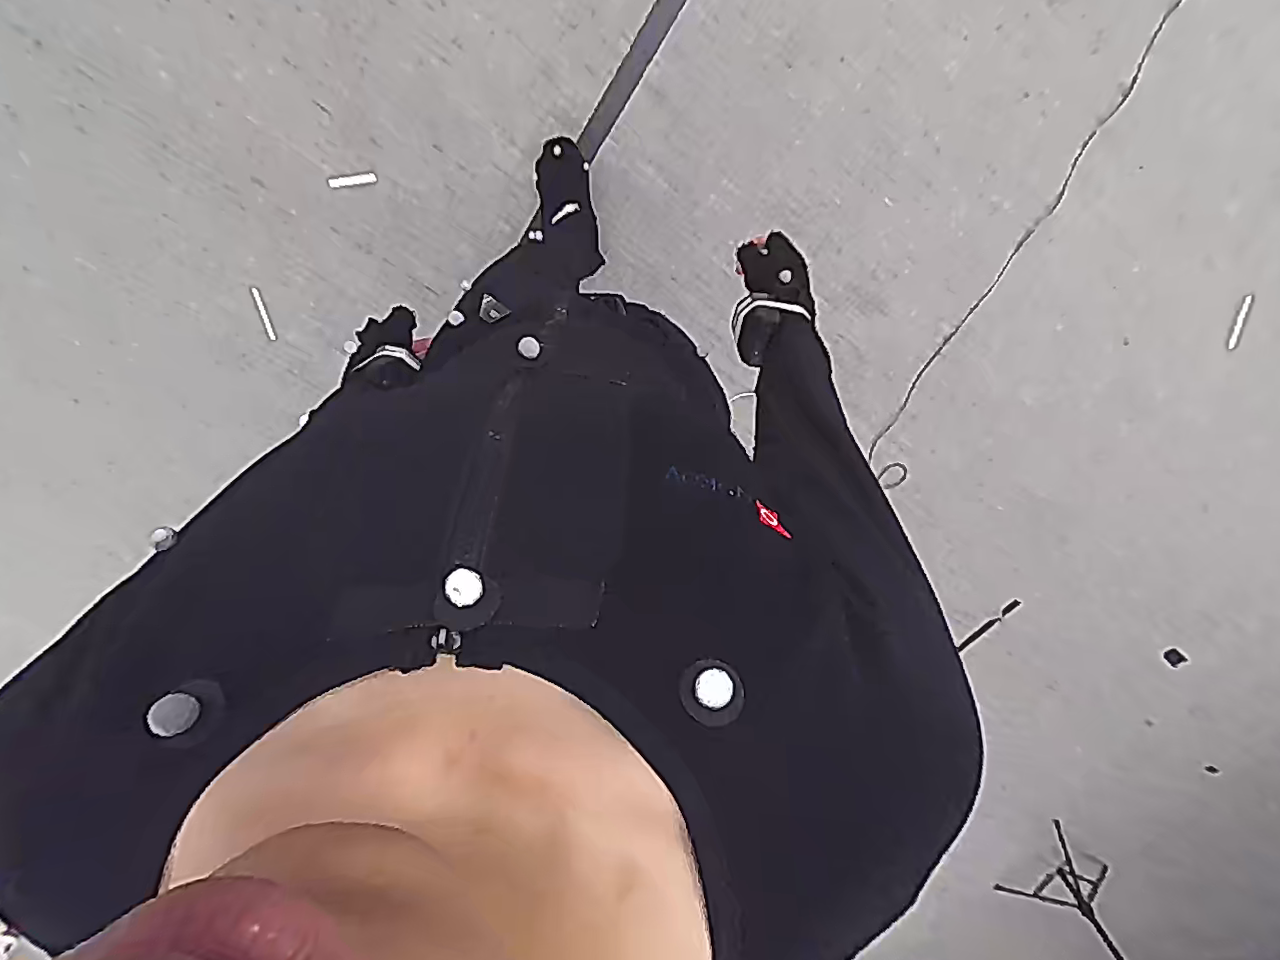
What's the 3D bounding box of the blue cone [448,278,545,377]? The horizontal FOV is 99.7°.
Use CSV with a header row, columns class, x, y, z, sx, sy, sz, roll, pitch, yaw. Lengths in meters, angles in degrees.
class,x,y,z,sx,sy,sz,roll,pitch,yaw
blue cone,-0.346,-0.304,1.193,0.193,0.380,0.192,-37,111,14
